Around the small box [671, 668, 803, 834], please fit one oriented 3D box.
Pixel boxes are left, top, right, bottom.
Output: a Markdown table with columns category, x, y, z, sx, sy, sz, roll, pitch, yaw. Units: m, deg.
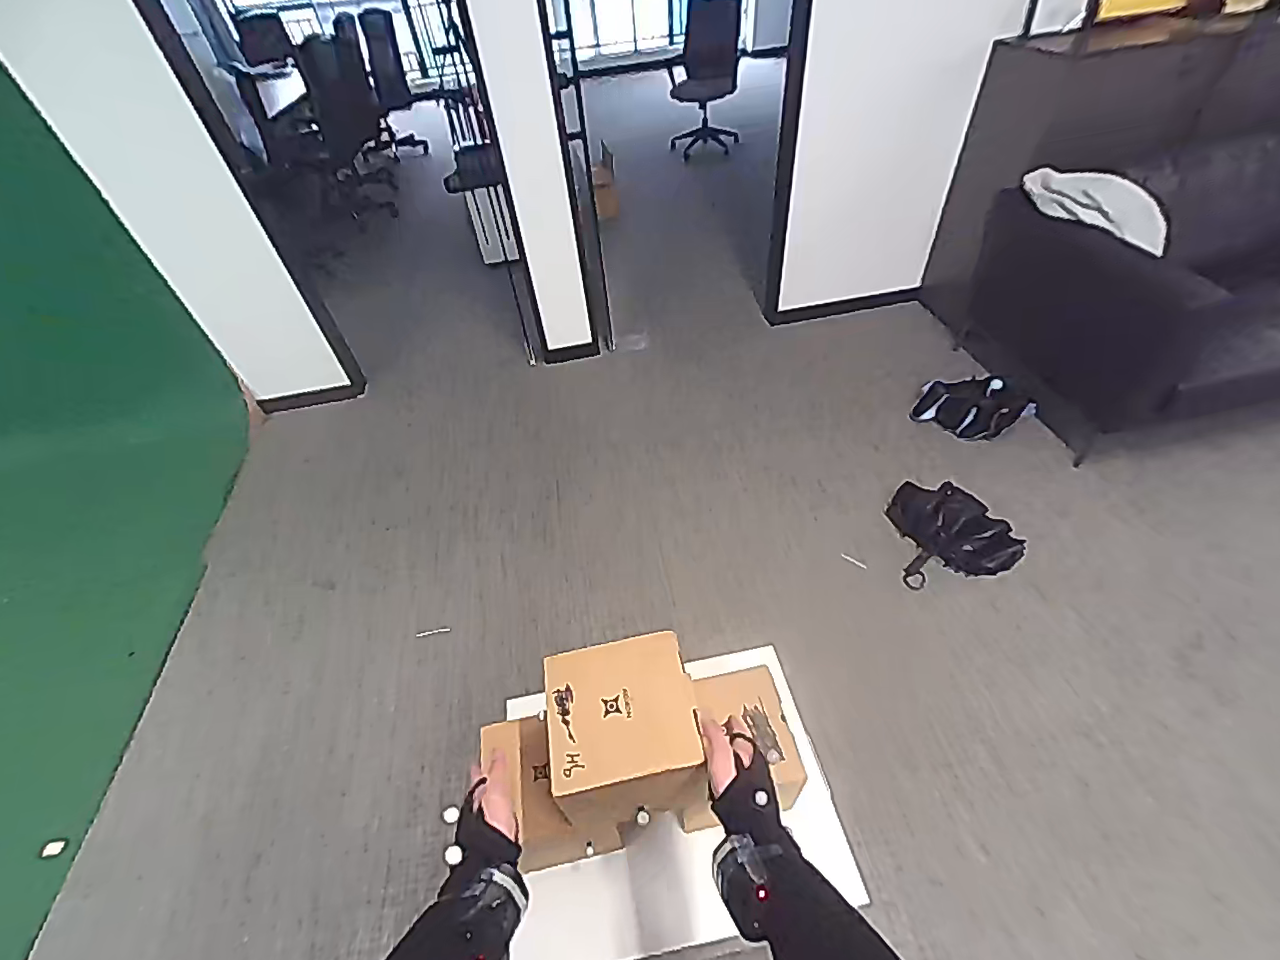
| category | x | y | z | sx | sy | sz | roll | pitch | yaw |
| --- | --- | --- | --- | --- | --- | --- | --- | --- | --- |
| small box | 0.122 | 0.410 | 0.819 | 0.179 | 0.176 | 0.168 | -10 | 46 | -5 |

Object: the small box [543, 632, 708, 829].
| category | x | y | z | sx | sy | sz | roll | pitch | yaw |
| --- | --- | --- | --- | --- | --- | --- | --- | --- | --- |
| small box | -0.022 | 0.320 | 0.689 | 0.179 | 0.176 | 0.168 | -9 | 45 | -6 |

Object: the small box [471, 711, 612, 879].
| category | x | y | z | sx | sy | sz | roll | pitch | yaw |
| --- | --- | --- | --- | --- | --- | --- | --- | --- | --- |
| small box | -0.138 | 0.455 | 0.792 | 0.179 | 0.176 | 0.168 | -11 | 45 | -7 |
